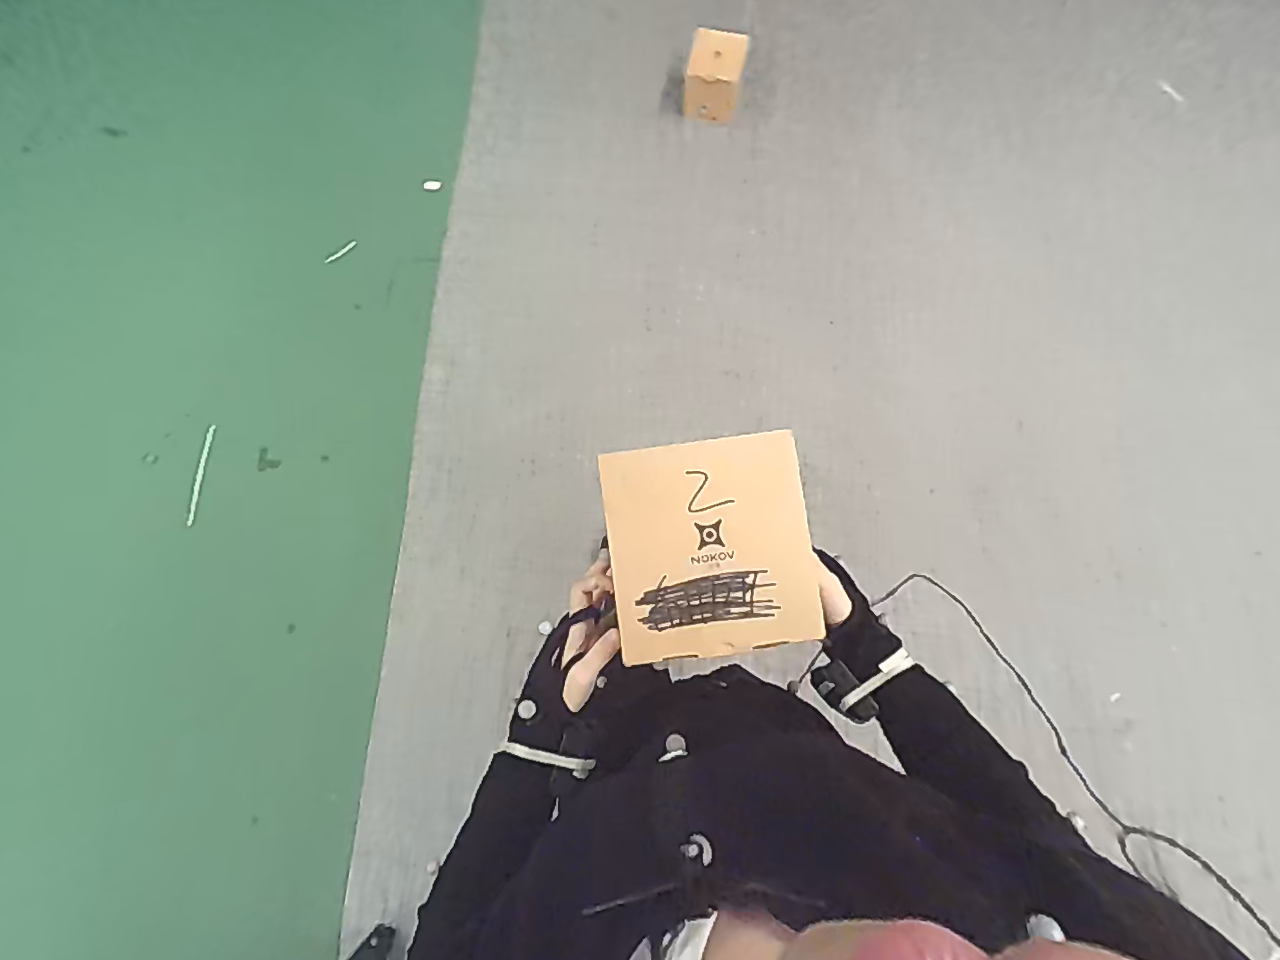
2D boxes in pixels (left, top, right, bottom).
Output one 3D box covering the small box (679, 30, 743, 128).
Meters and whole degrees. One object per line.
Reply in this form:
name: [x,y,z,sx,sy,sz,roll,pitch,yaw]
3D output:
small box: [0.220,-1.281,1.733,0.168,0.176,0.179,14,80,5]
